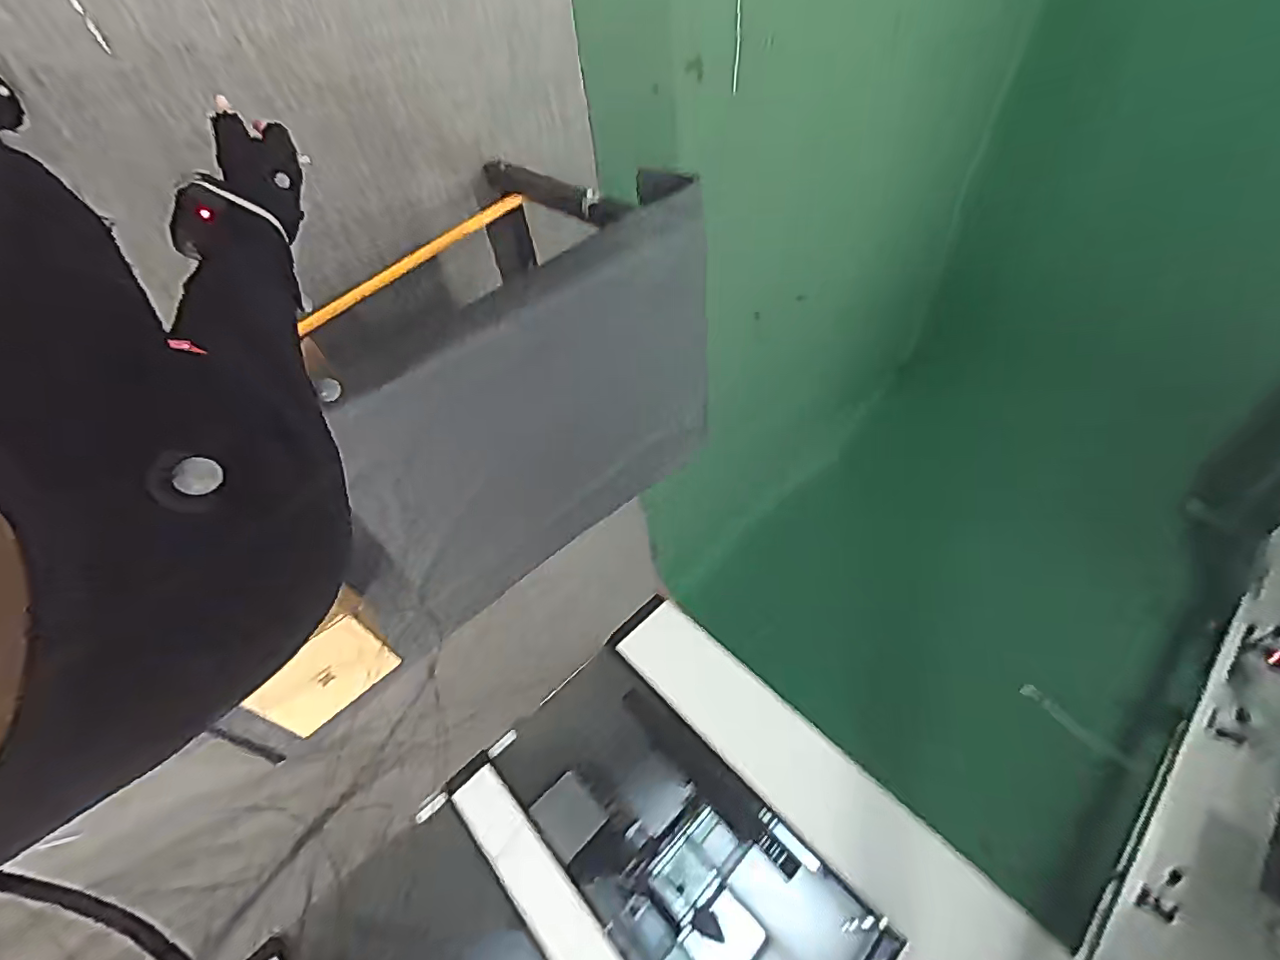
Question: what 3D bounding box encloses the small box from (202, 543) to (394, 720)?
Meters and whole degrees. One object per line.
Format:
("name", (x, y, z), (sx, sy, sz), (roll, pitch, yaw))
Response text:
("small box", (-0.525, 0.230, 0.840), (0.168, 0.176, 0.179), (-38, 145, -22))
